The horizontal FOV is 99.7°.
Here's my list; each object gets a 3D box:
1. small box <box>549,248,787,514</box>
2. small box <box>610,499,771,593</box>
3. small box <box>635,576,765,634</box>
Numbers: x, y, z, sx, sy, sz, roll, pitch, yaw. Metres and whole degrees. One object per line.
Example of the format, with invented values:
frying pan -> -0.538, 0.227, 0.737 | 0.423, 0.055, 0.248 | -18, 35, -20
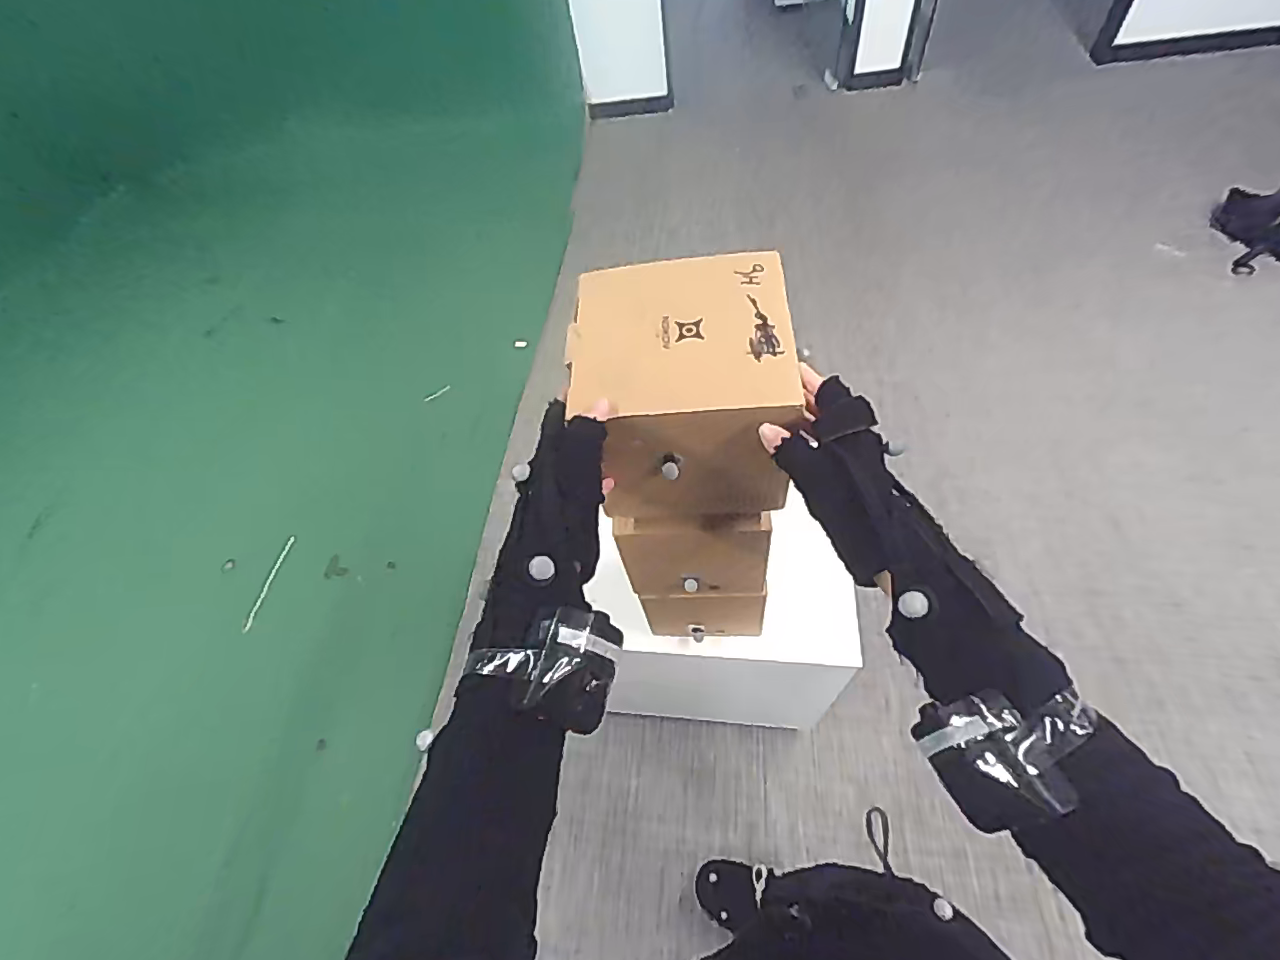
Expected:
small box -> 0.033, -0.077, 0.493 | 0.179, 0.176, 0.168 | -4, 60, 9
small box -> 0.062, 0.021, 0.657 | 0.168, 0.176, 0.179 | -5, 55, 7
small box -> 0.089, 0.114, 0.790 | 0.168, 0.176, 0.179 | -4, 58, 9
